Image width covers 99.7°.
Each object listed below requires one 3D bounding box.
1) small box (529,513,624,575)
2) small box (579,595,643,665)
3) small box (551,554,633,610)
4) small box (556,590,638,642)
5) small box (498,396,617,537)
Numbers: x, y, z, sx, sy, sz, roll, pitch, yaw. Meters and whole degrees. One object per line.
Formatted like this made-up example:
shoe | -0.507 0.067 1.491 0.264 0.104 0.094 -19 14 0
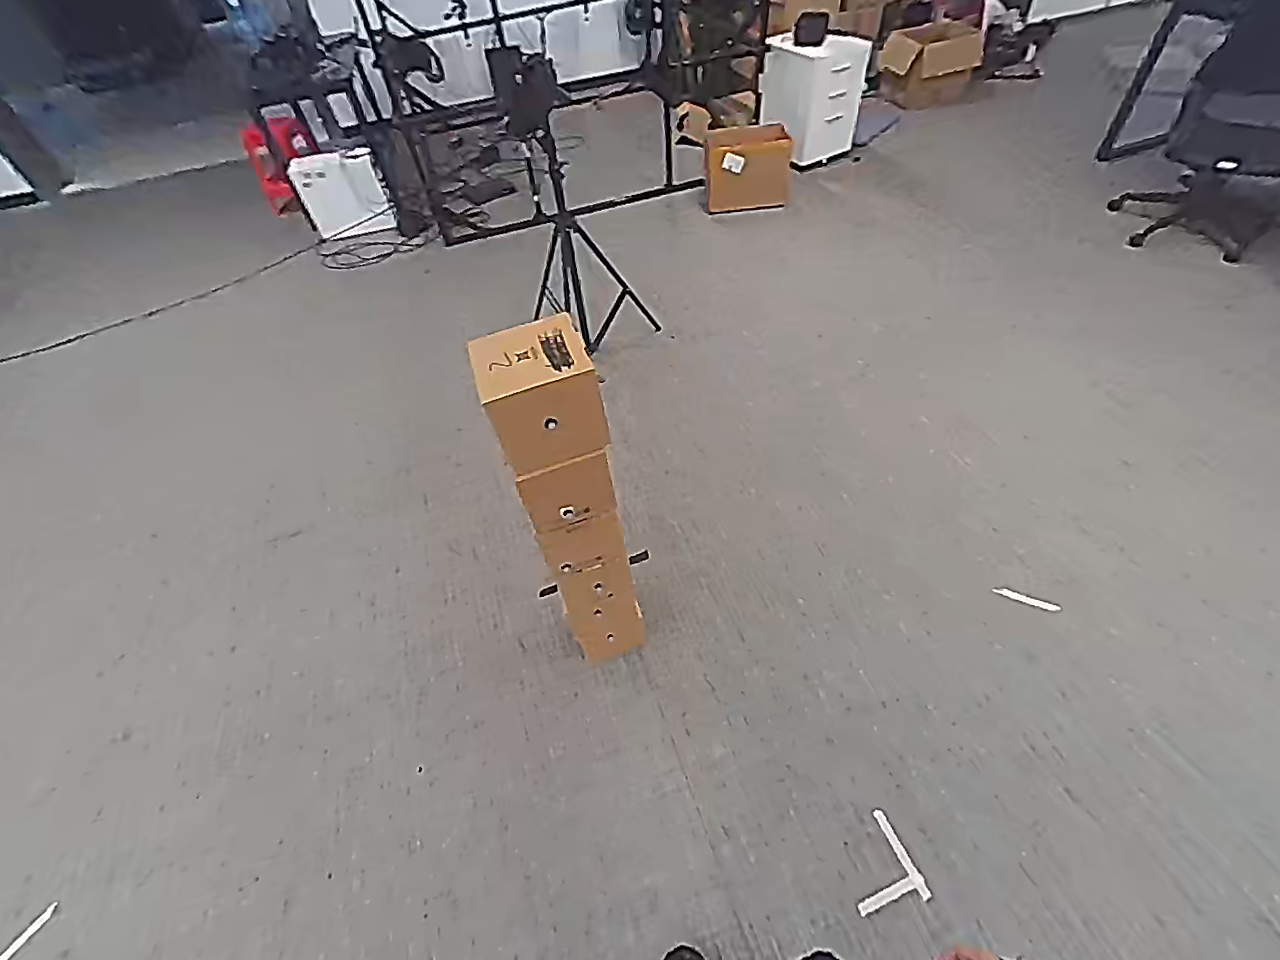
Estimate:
small box | -0.139 0.080 1.142 0.168 0.176 0.179 -18 50 -8
small box | -0.095 0.393 1.519 0.179 0.176 0.168 -18 51 -8
small box | -0.121 0.185 1.267 0.168 0.176 0.179 -17 52 -7
small box | -0.115 0.294 1.390 0.179 0.176 0.168 -16 52 -7
small box | -0.151 -0.023 1.019 0.168 0.176 0.179 -20 52 -8
